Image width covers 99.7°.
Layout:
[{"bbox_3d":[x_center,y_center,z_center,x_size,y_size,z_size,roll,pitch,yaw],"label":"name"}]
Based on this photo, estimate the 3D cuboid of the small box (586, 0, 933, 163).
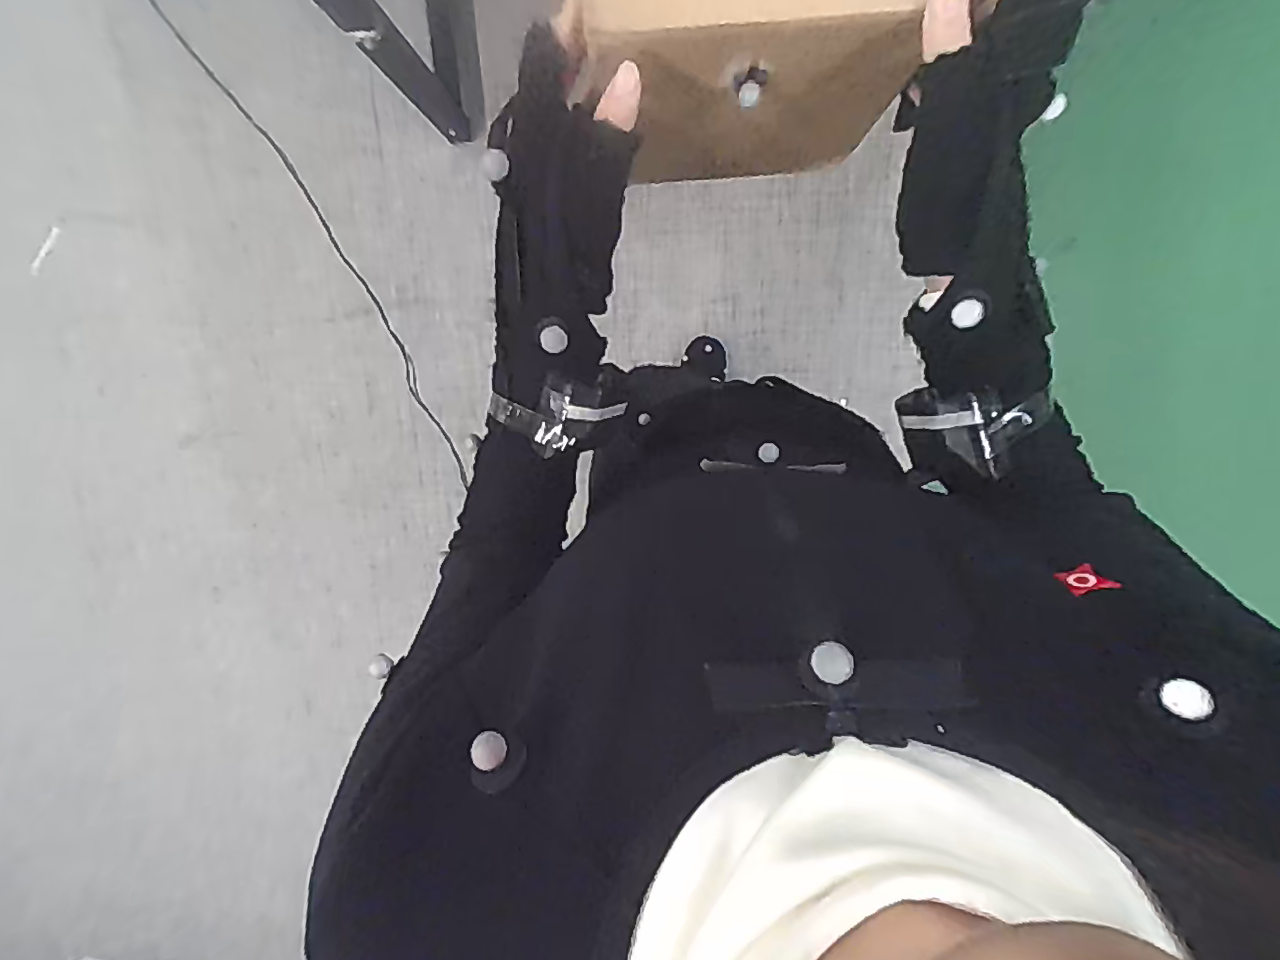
[{"bbox_3d":[0.056,-0.311,0.319,0.179,0.176,0.168,-4,97,-1],"label":"small box"}]
